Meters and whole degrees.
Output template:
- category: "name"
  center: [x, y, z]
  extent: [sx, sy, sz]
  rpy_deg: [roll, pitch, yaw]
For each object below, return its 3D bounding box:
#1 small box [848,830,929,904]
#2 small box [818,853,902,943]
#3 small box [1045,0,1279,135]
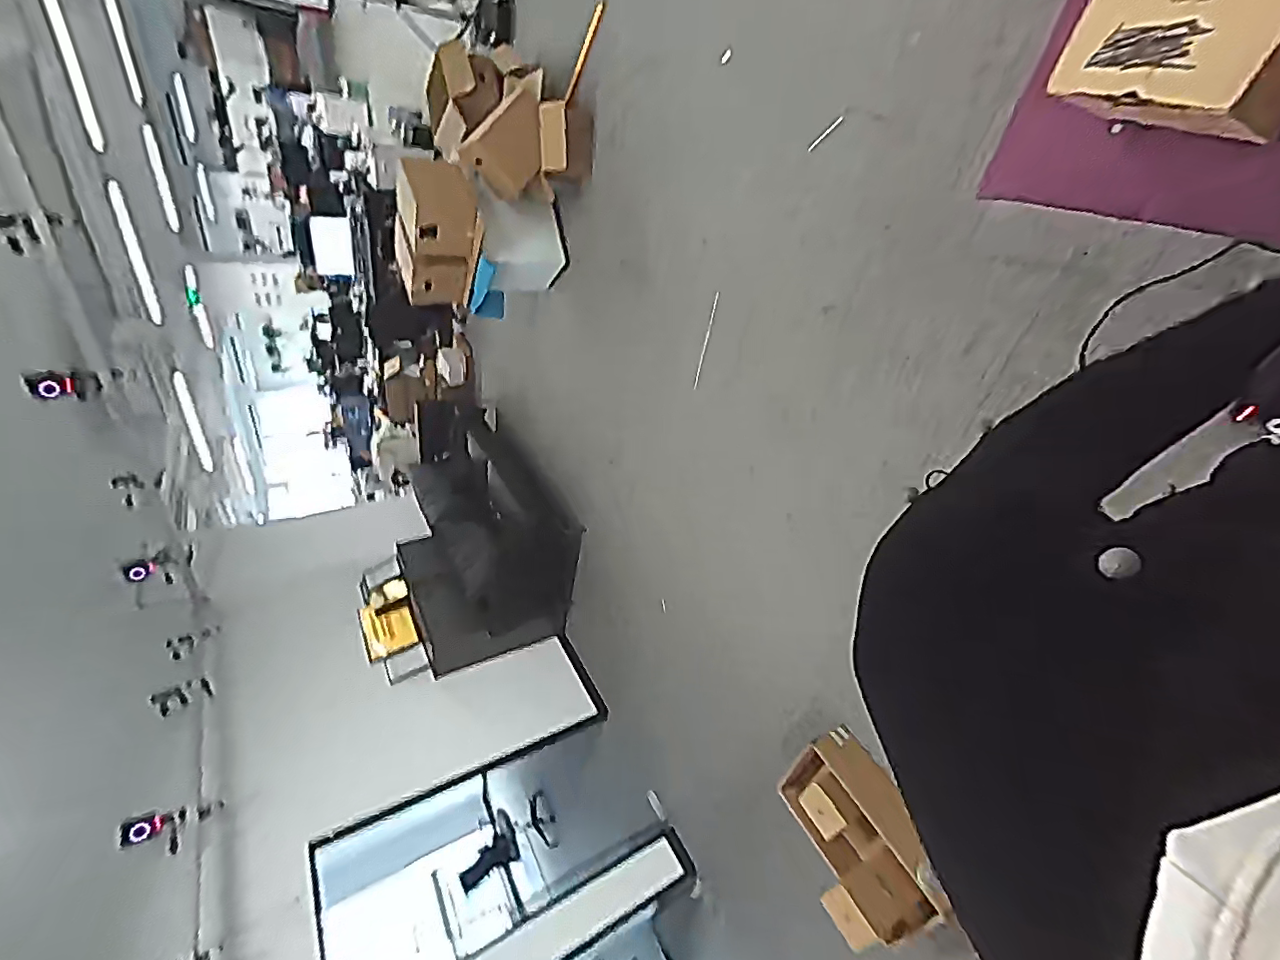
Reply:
- category: "small box"
  center: [0.889, 1.397, 1.929]
  extent: [0.168, 0.176, 0.179]
  rpy_deg: [51, 141, 37]
- category: "small box"
  center: [0.752, 1.424, 1.845]
  extent: [0.168, 0.176, 0.179]
  rpy_deg: [51, 140, 37]
- category: "small box"
  center: [0.552, -0.449, 0.514]
  extent: [0.168, 0.176, 0.179]
  rpy_deg: [48, 137, 39]
